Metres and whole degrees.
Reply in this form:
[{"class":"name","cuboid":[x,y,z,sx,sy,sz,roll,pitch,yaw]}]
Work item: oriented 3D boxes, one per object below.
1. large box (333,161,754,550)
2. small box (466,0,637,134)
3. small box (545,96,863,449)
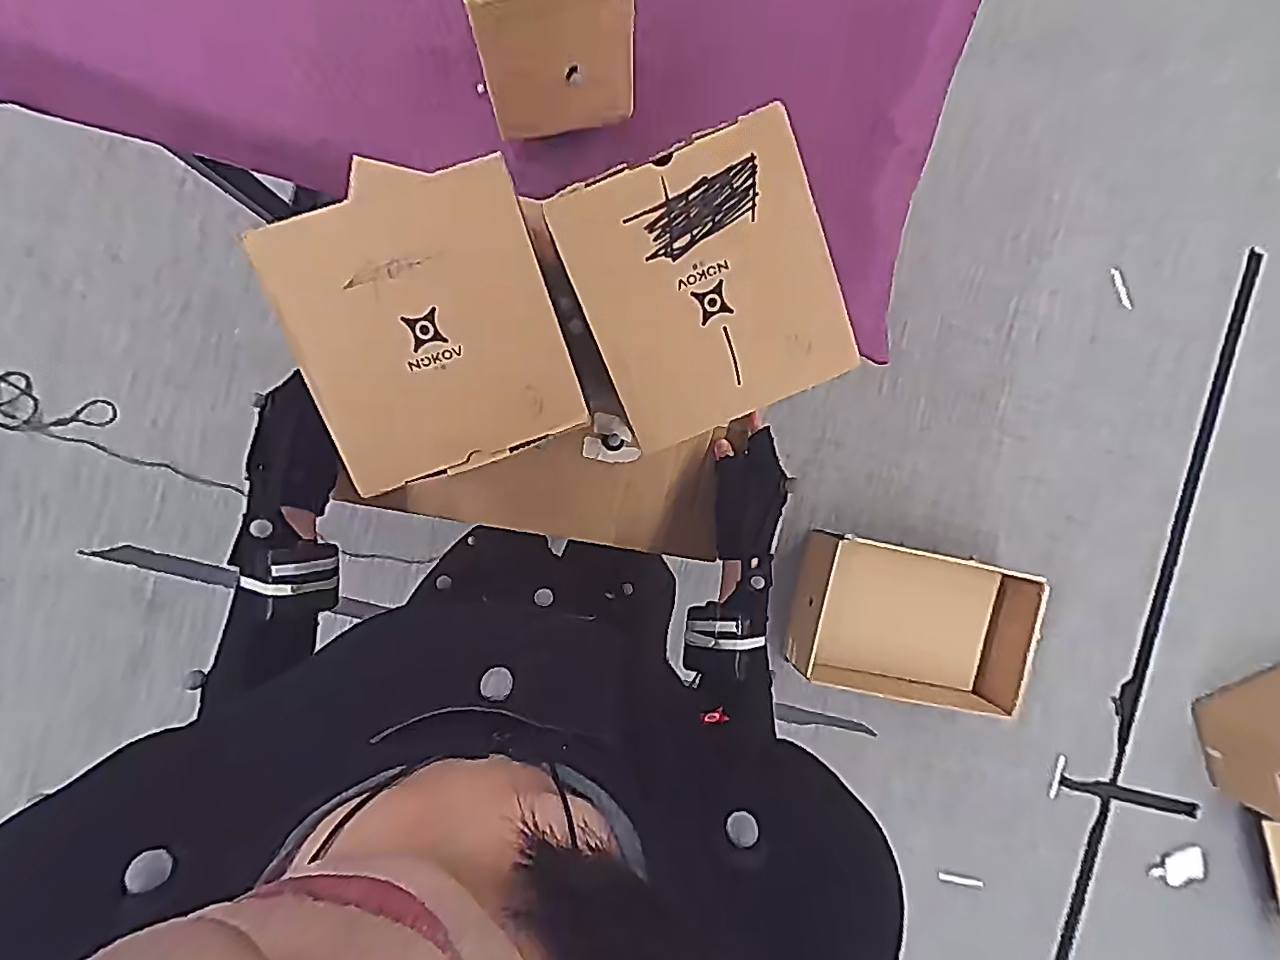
[{"class":"large box","cuboid":[-0.096,-0.133,0.664,0.408,0.320,0.320,10,102,-8]},{"class":"small box","cuboid":[-0.109,-0.554,0.628,0.179,0.176,0.168,-16,74,-5]},{"class":"small box","cuboid":[0.038,-0.143,0.423,0.168,0.176,0.179,-22,104,0]}]
